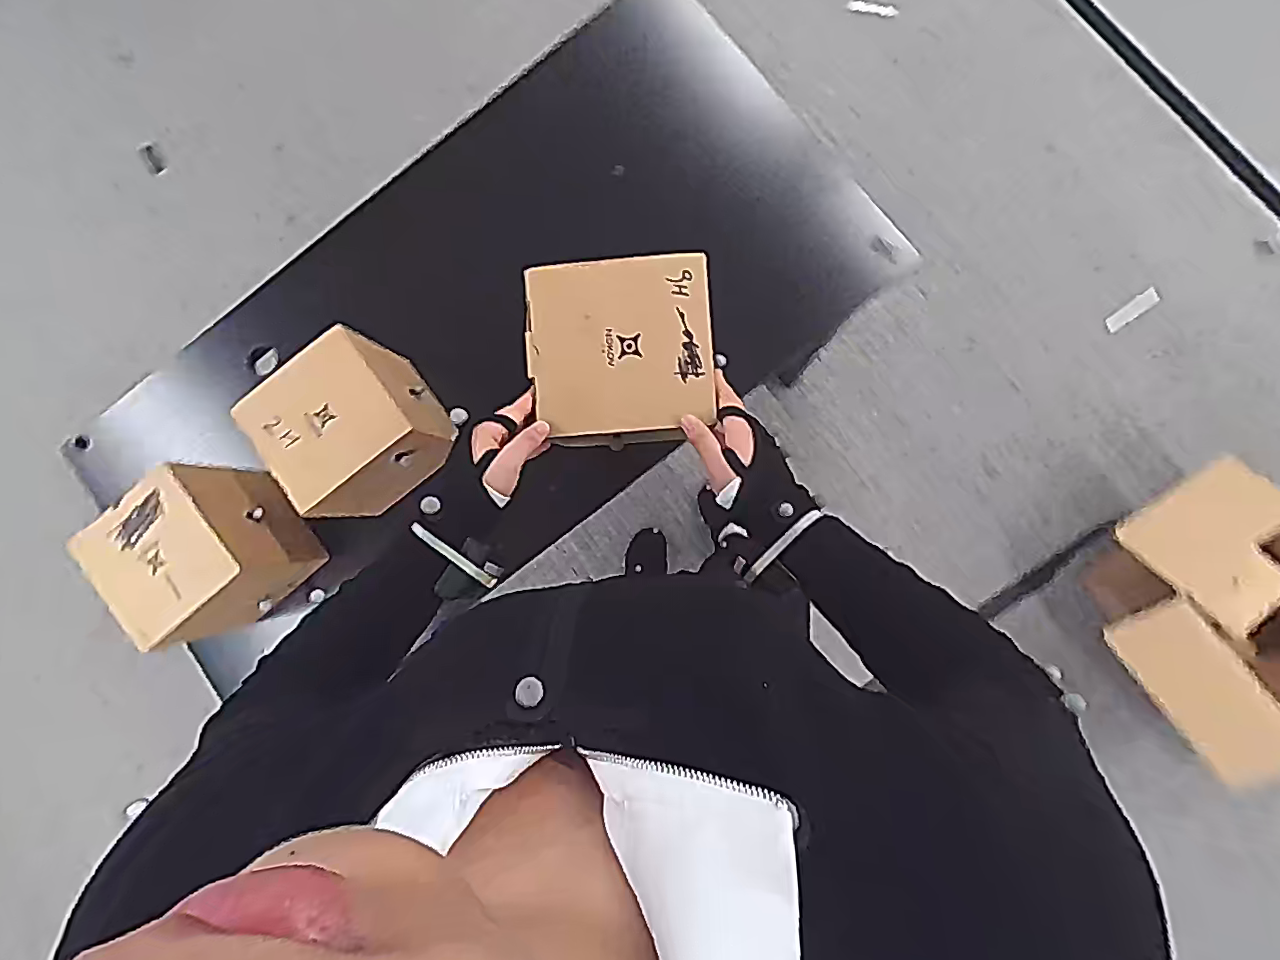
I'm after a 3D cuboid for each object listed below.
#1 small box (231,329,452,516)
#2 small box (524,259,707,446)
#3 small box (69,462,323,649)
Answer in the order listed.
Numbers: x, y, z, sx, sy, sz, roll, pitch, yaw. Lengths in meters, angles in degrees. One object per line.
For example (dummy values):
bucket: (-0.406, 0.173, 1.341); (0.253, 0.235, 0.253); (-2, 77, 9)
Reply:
small box: (-0.385, -0.068, 0.737); (0.179, 0.176, 0.168); (-38, 84, 2)
small box: (-0.019, -0.127, 0.602); (0.179, 0.176, 0.168); (-3, 90, 3)
small box: (-0.594, 0.098, 0.747); (0.168, 0.176, 0.179); (-40, 85, 2)
